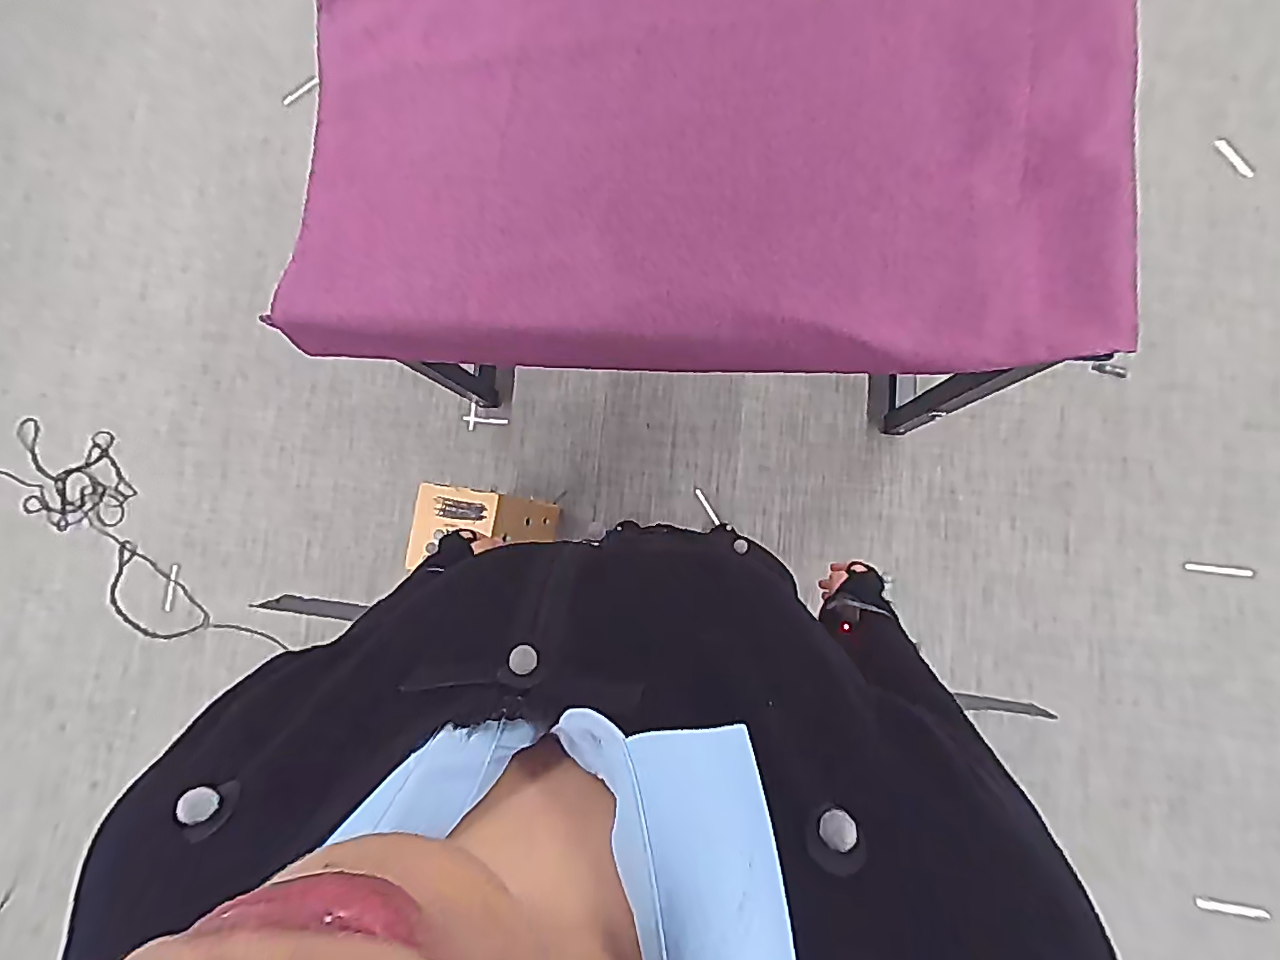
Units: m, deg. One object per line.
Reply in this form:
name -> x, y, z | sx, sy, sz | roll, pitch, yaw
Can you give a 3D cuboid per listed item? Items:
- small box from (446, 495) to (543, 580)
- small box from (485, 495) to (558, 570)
small box -> -0.339, 0.135, 1.294 | 0.168, 0.176, 0.179 | 6, 86, 6
small box -> -0.331, 0.145, 1.458 | 0.168, 0.176, 0.179 | 11, 86, 6
